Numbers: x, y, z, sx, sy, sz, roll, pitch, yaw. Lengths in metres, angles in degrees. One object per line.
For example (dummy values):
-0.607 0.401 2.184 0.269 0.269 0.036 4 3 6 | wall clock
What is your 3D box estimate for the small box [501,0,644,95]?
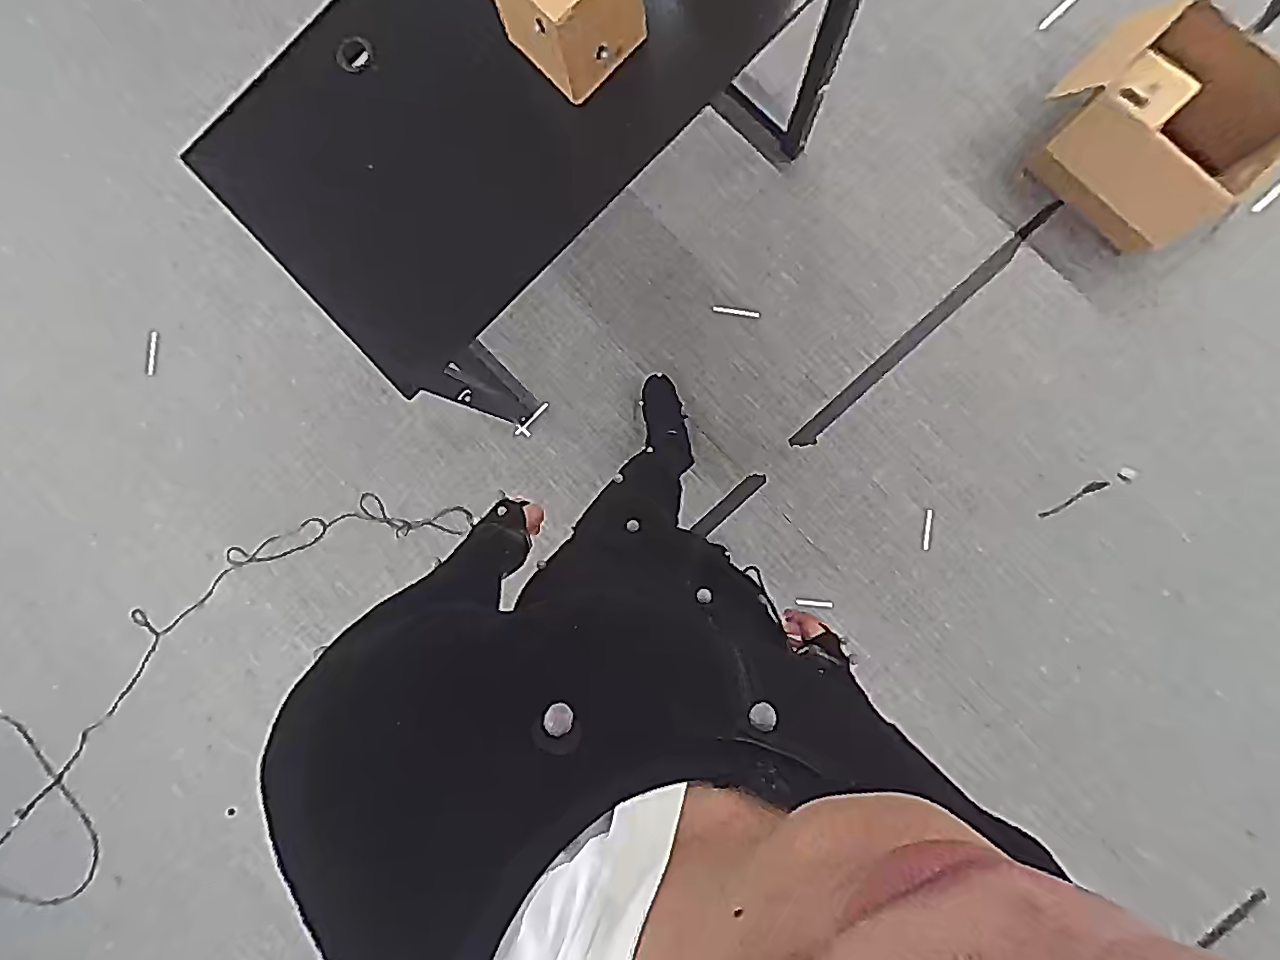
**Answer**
-0.110 -0.755 0.832 0.168 0.176 0.179 -44 88 3 | small box
